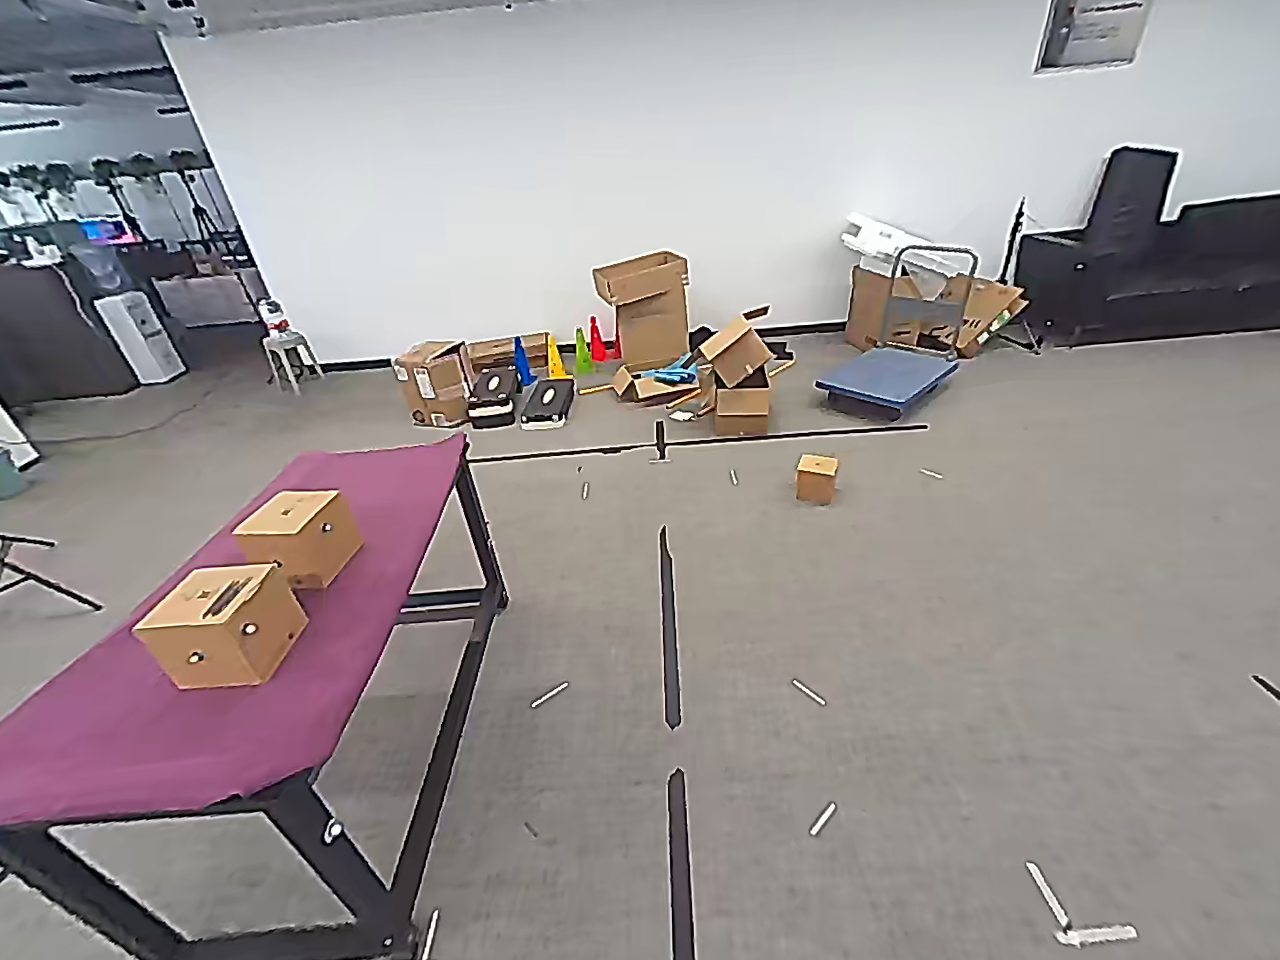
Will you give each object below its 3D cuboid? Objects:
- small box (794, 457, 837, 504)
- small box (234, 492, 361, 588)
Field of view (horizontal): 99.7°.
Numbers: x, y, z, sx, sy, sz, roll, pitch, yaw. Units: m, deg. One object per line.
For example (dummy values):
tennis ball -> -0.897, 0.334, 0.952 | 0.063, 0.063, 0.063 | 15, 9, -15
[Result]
small box -> 0.876, 0.004, 2.702 | 0.179, 0.176, 0.168 | 10, 34, 23
small box -> -0.814, 0.146, 1.309 | 0.168, 0.176, 0.179 | 0, 31, 8
